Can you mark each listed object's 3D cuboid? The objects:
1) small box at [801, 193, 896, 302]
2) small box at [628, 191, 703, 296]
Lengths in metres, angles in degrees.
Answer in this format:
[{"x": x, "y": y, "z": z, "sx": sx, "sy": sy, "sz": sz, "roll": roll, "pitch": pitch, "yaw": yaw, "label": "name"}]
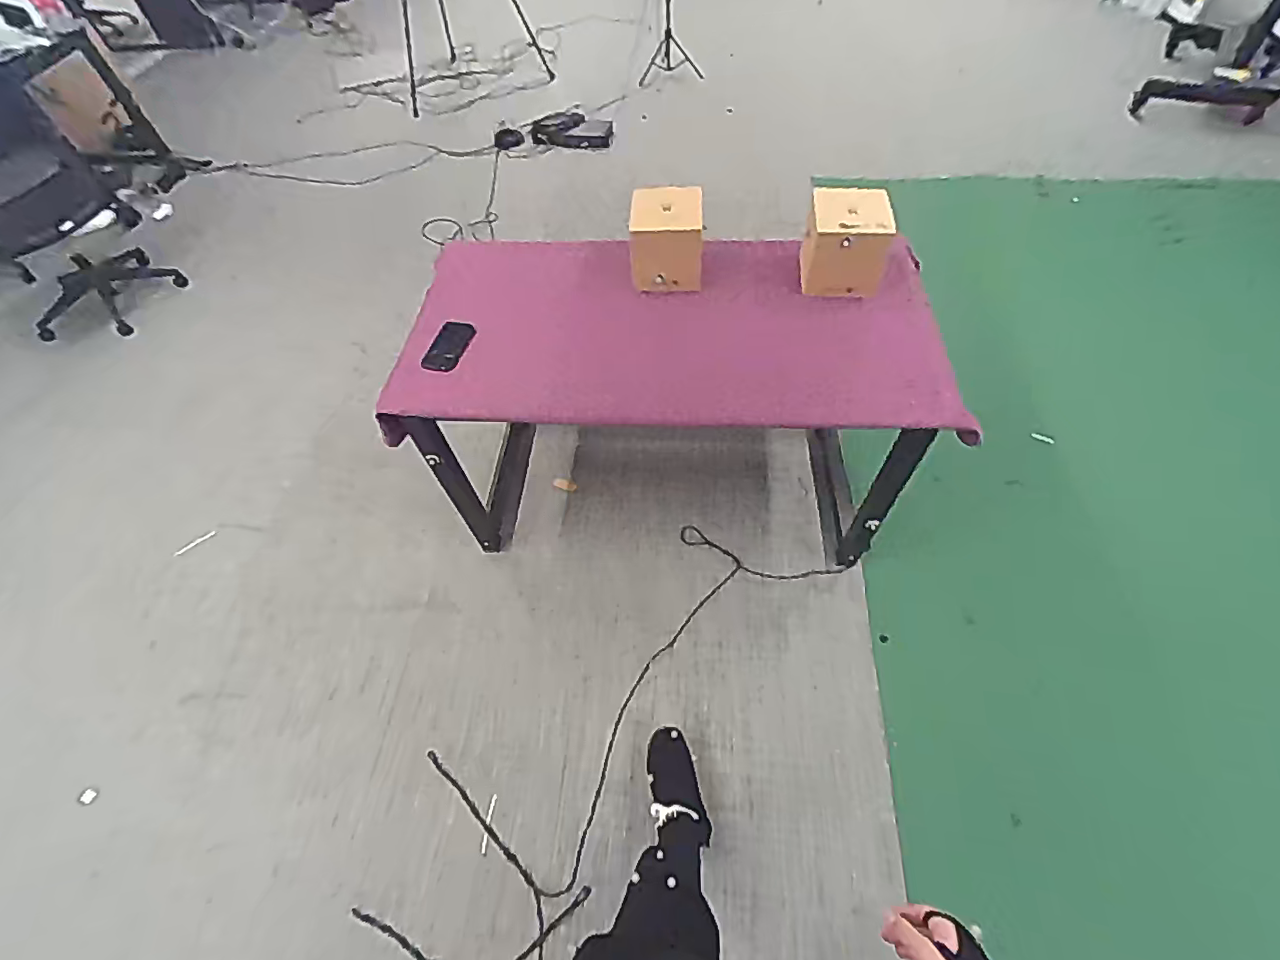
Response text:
[{"x": 0.472, "y": -0.540, "z": 1.256, "sx": 0.168, "sy": 0.176, "sz": 0.179, "roll": 3, "pitch": 55, "yaw": 8, "label": "small box"}, {"x": 0.065, "y": -0.570, "z": 1.306, "sx": 0.168, "sy": 0.176, "sz": 0.179, "roll": 1, "pitch": 56, "yaw": 6, "label": "small box"}]
